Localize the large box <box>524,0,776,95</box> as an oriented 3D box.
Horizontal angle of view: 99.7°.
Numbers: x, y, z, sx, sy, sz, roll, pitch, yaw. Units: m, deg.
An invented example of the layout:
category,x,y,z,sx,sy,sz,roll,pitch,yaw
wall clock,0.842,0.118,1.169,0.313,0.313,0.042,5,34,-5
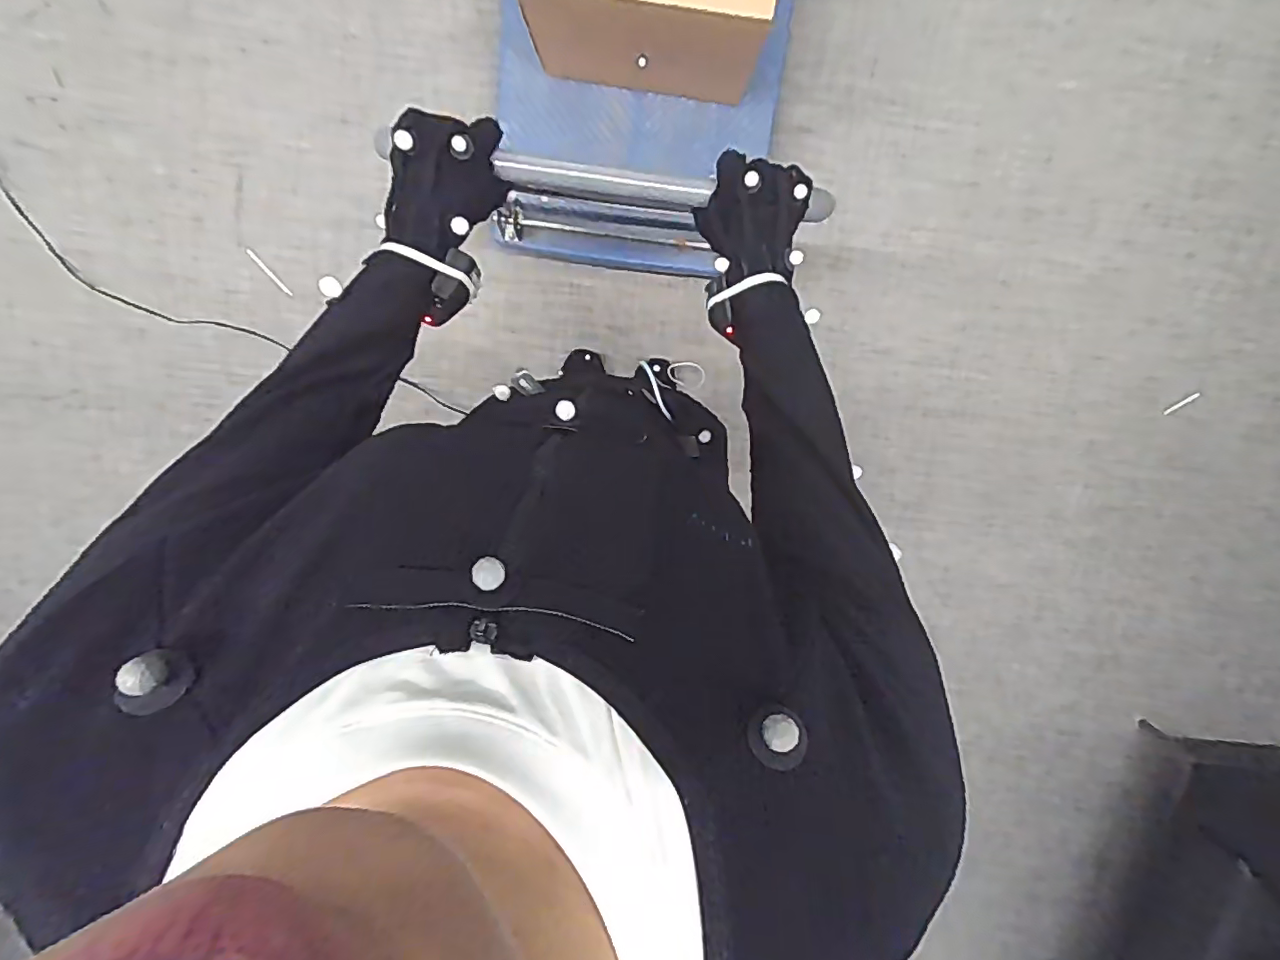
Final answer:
category,x,y,z,sx,sy,sz,roll,pitch,yaw
large box,0.029,-0.918,0.931,0.408,0.320,0.320,7,104,-1
